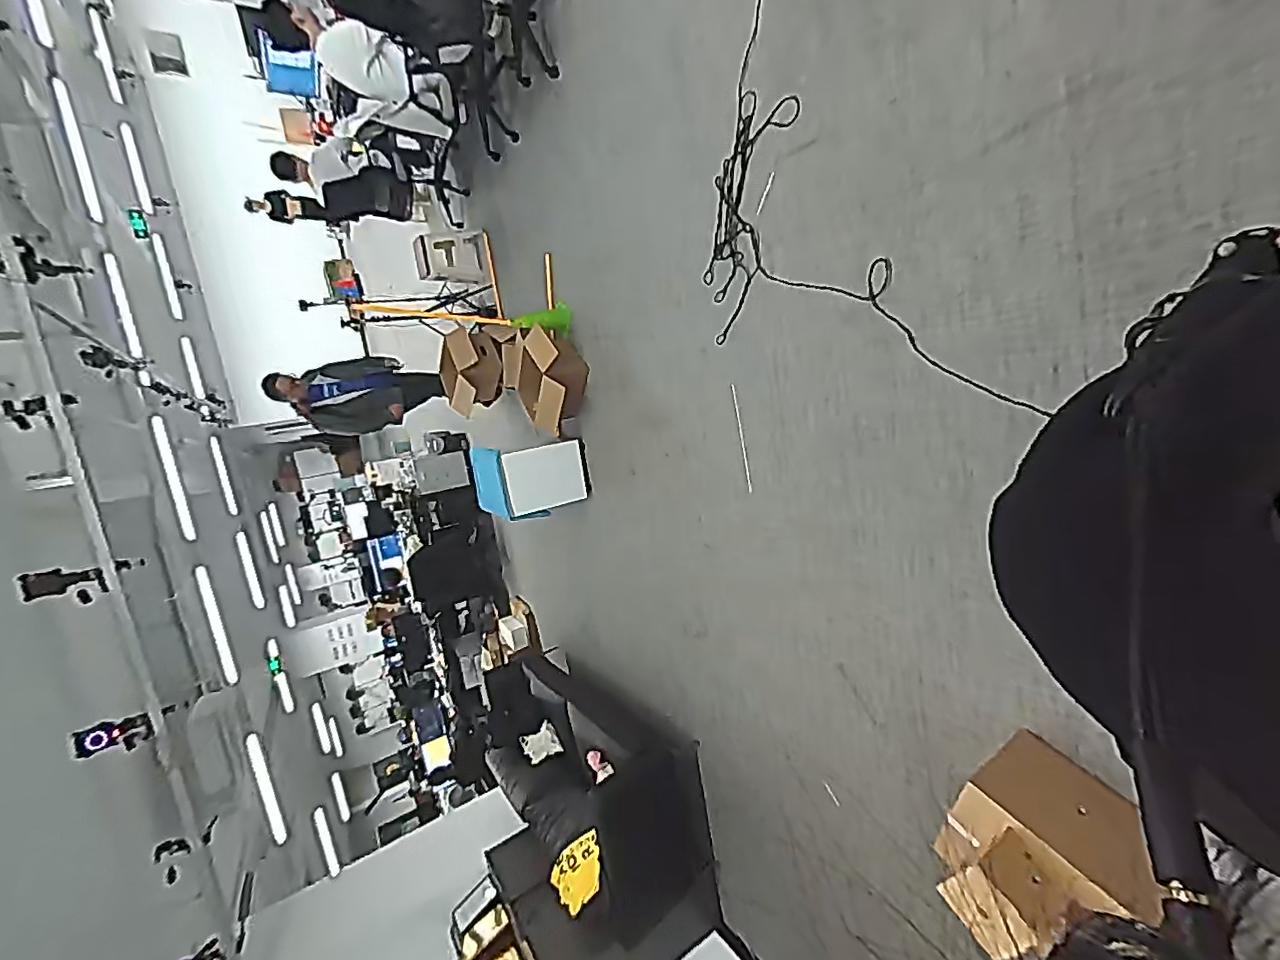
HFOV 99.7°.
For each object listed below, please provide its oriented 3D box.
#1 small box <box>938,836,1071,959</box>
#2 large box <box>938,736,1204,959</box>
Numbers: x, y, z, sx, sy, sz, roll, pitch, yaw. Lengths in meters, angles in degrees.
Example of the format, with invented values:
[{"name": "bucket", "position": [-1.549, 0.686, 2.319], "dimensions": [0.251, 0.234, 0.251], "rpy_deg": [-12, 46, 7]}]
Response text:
[{"name": "small box", "position": [0.858, 0.988, 1.274], "dimensions": [0.168, 0.176, 0.179], "rpy_deg": [50, 139, 38]}, {"name": "large box", "position": [1.075, 0.964, 1.388], "dimensions": [0.408, 0.320, 0.320], "rpy_deg": [35, 132, 47]}]
